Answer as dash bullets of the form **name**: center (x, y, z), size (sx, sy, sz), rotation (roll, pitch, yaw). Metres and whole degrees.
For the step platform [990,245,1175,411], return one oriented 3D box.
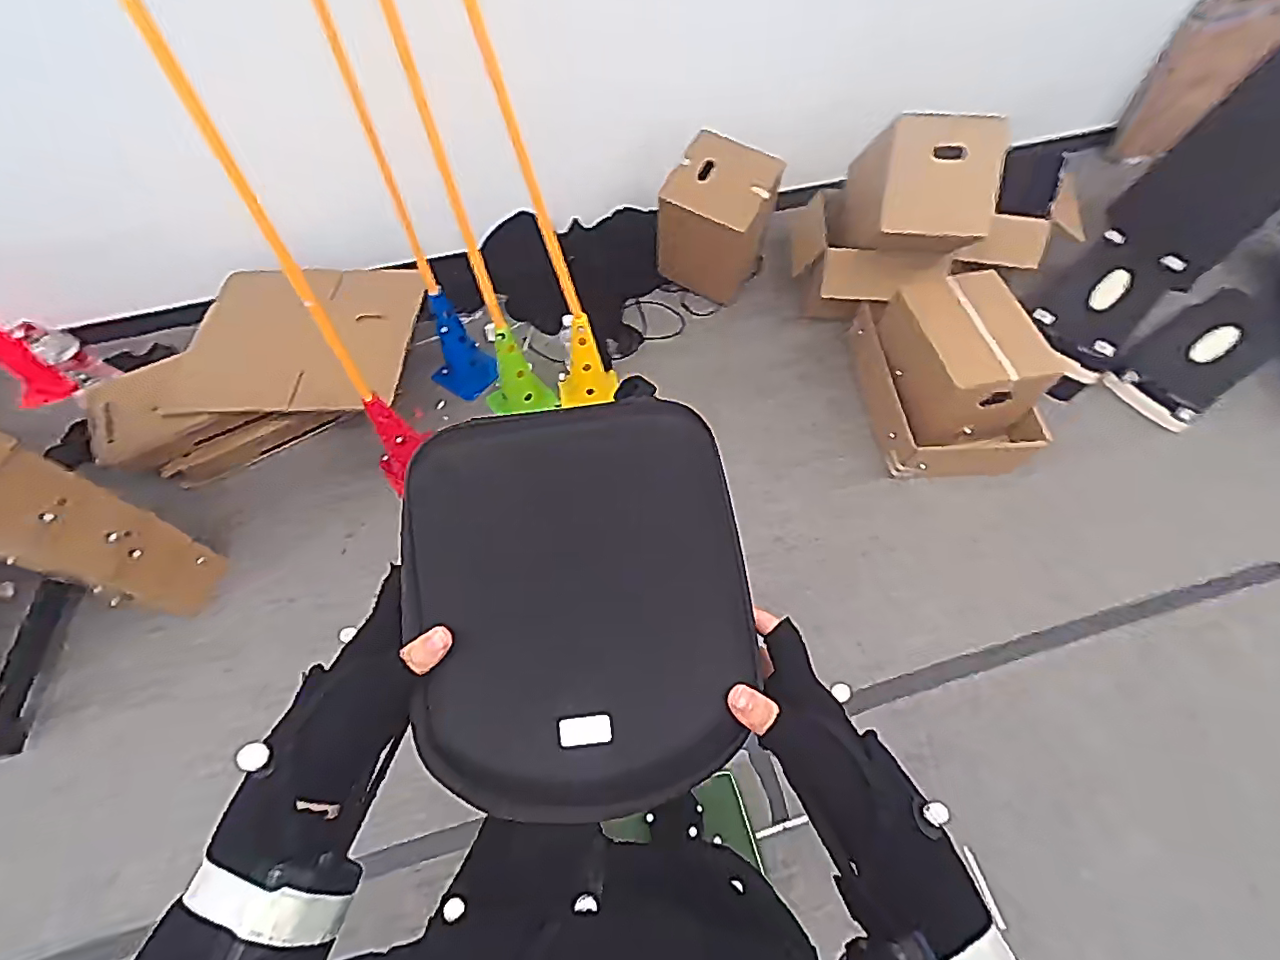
- **step platform**: center (1.553, -0.547, 1.894), size (0.684, 0.204, 0.286), rotation (-41, 68, -19)
